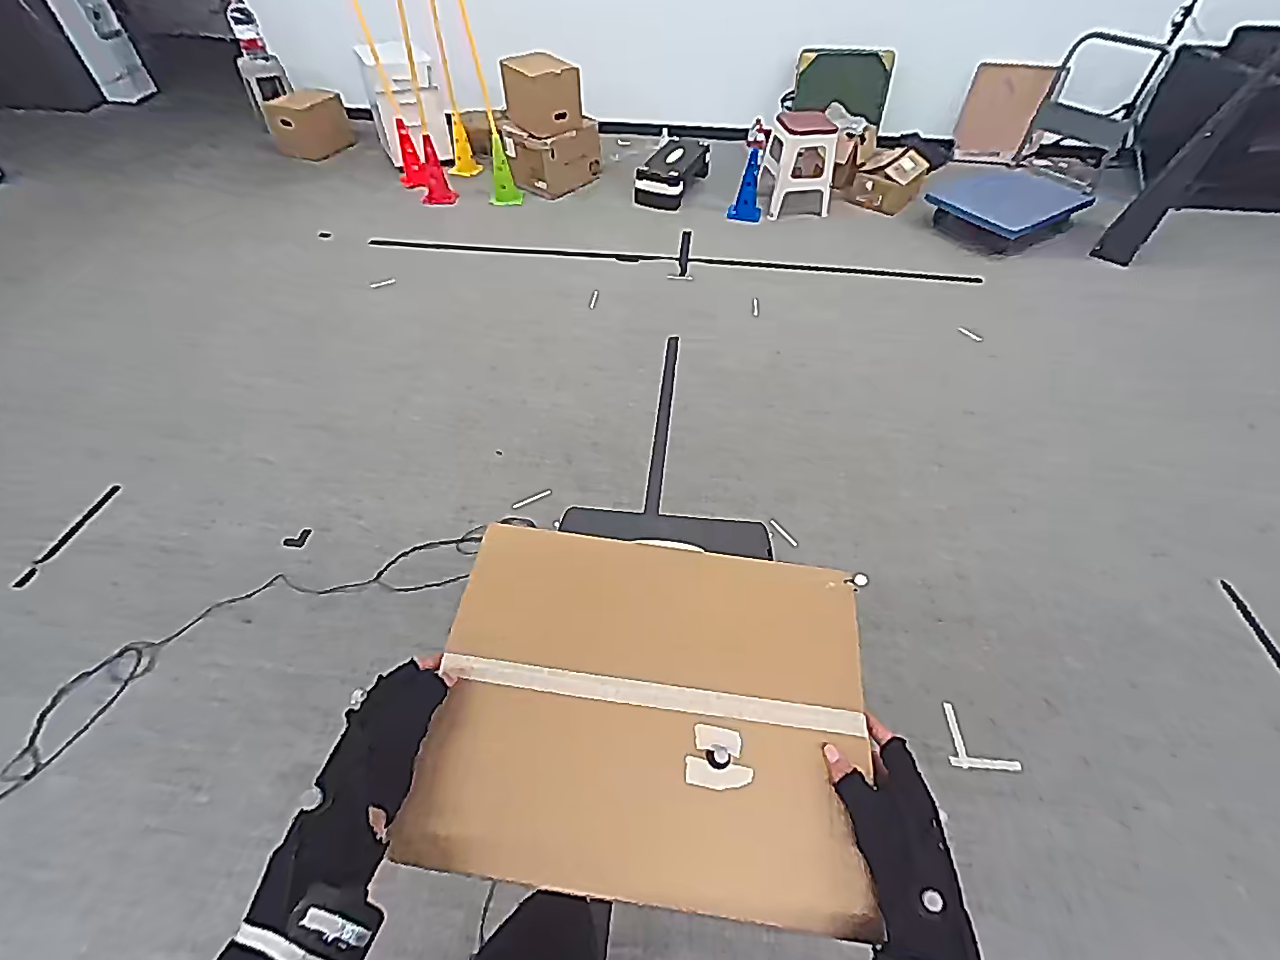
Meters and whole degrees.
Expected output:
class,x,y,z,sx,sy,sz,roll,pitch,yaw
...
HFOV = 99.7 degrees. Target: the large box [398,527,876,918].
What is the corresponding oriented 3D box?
class,x,y,z,sx,sy,sz,roll,pitch,yaw
large box,0.004,0.283,0.645,0.408,0.320,0.320,8,57,2
